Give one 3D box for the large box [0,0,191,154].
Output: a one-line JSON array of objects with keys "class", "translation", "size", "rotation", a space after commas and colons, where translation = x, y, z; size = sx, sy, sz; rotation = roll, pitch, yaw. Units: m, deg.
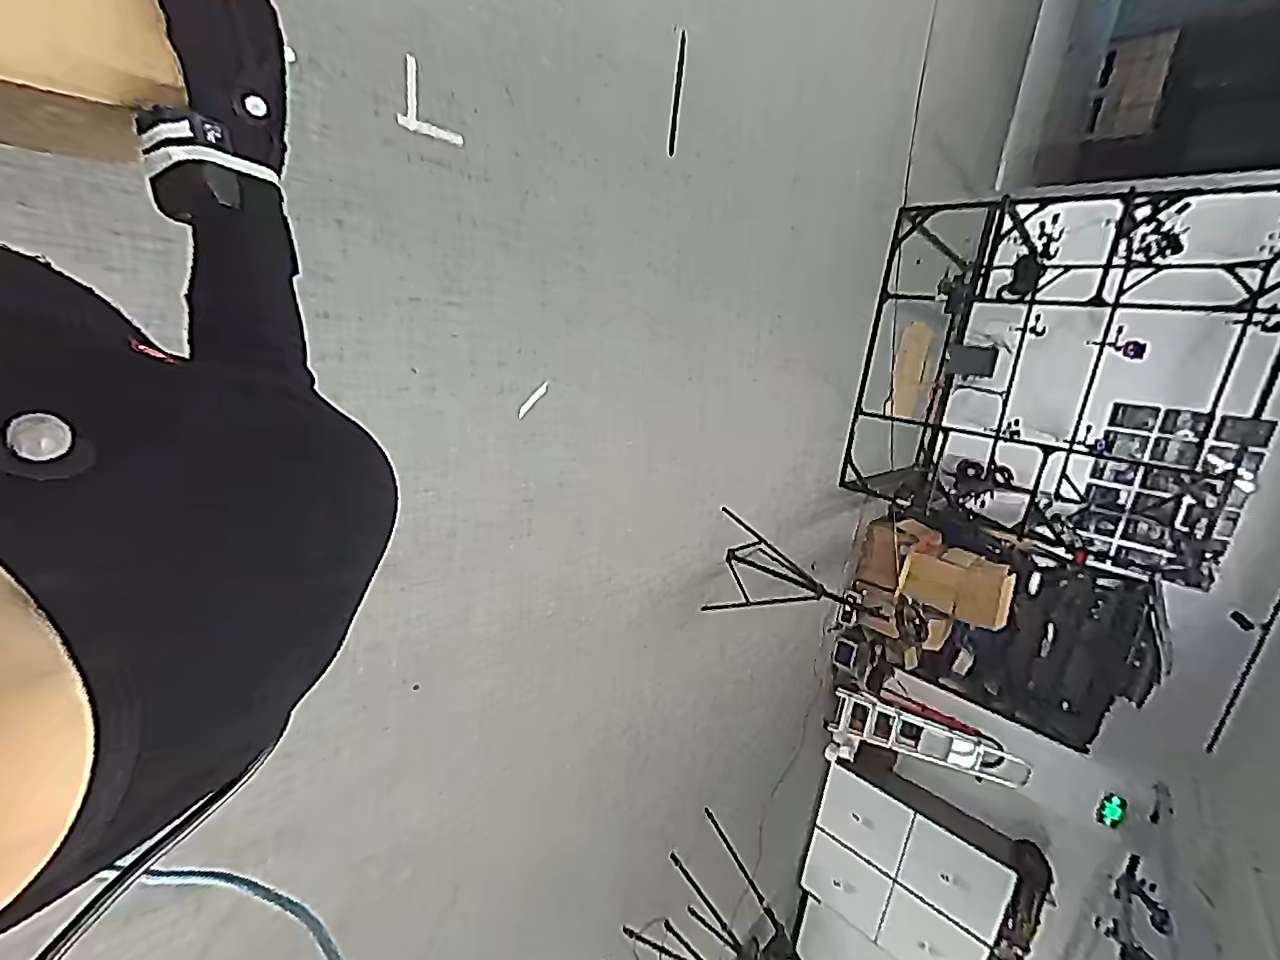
[{"class": "large box", "translation": [-0.581, -0.428, 0.316], "size": [0.408, 0.320, 0.320], "rotation": [-17, 117, -48]}]
